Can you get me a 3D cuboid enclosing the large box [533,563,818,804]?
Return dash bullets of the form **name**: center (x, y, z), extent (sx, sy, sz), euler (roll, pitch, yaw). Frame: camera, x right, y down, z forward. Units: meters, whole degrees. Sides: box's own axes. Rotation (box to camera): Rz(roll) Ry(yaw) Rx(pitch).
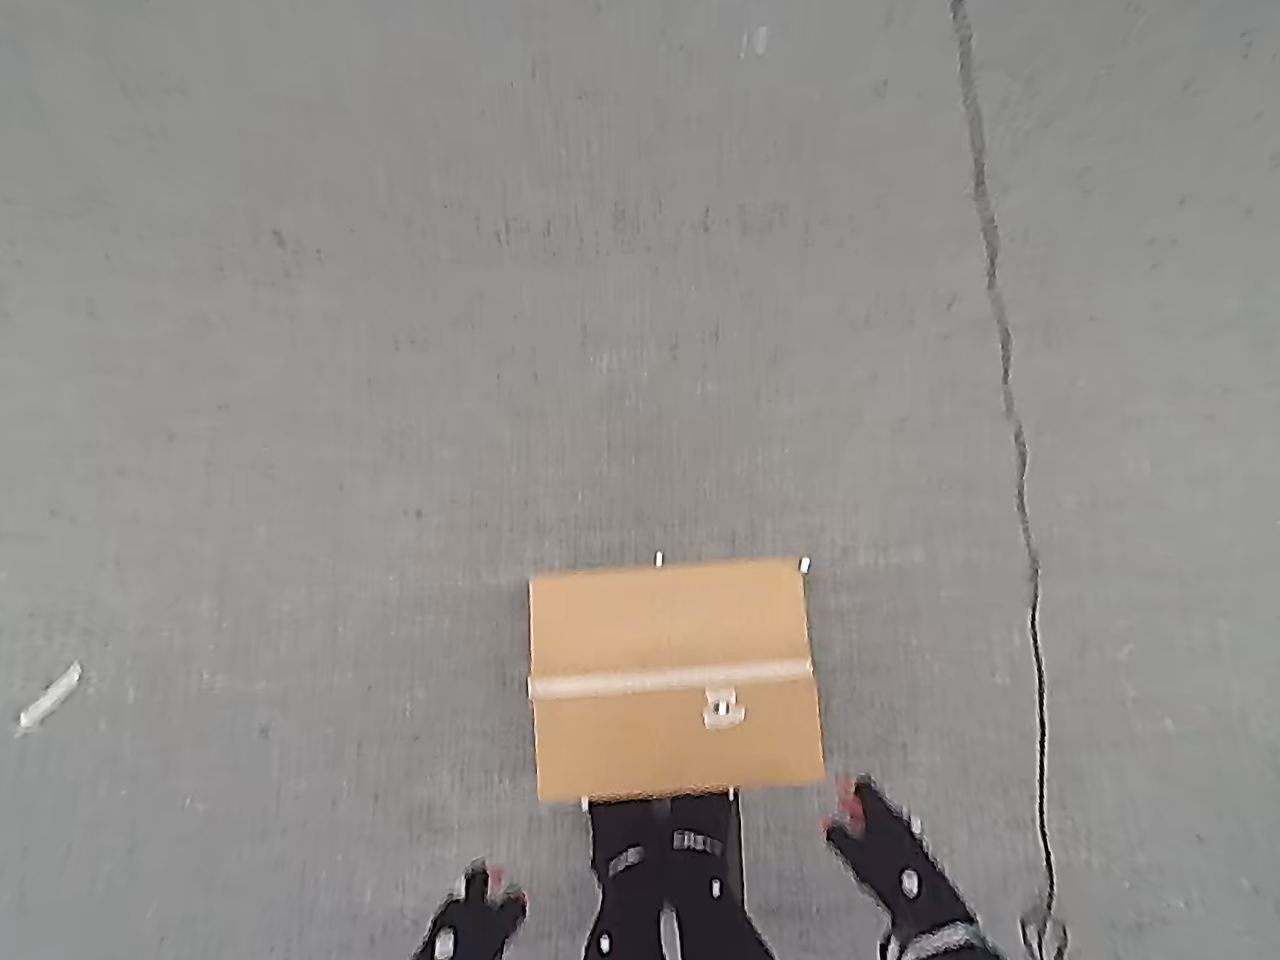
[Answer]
- **large box**: center (0.044, 0.321, 0.943), extent (0.408, 0.320, 0.320), euler (-4, 81, -2)
